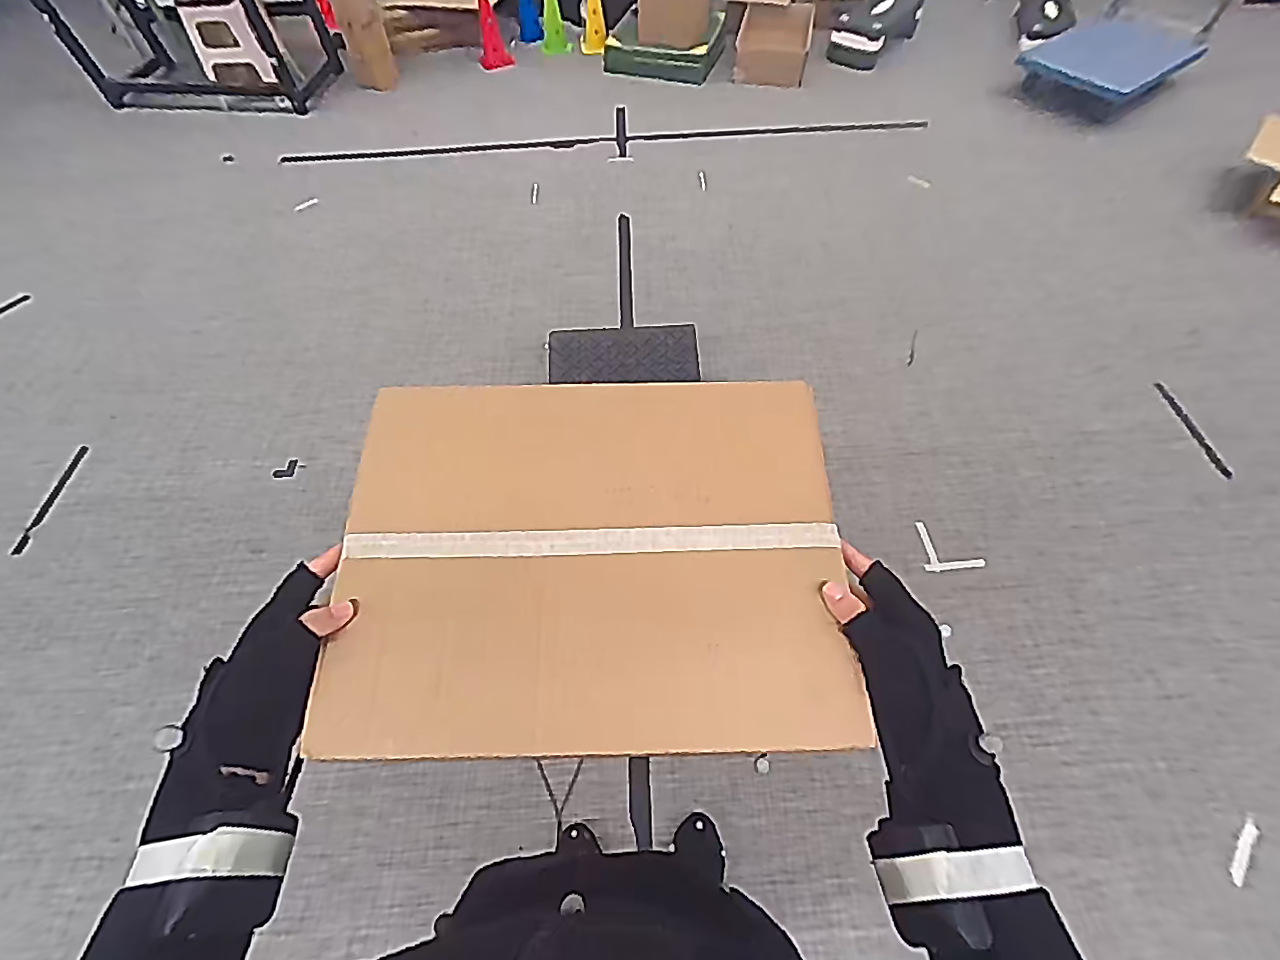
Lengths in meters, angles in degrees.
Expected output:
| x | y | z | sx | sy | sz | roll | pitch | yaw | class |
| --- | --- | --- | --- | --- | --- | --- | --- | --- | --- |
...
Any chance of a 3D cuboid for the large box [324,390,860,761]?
| x | y | z | sx | sy | sz | roll | pitch | yaw | class |
| --- | --- | --- | --- | --- | --- | --- | --- | --- | --- |
| -0.036 | 0.120 | 0.592 | 0.408 | 0.320 | 0.320 | -1 | 64 | 0 | large box |
